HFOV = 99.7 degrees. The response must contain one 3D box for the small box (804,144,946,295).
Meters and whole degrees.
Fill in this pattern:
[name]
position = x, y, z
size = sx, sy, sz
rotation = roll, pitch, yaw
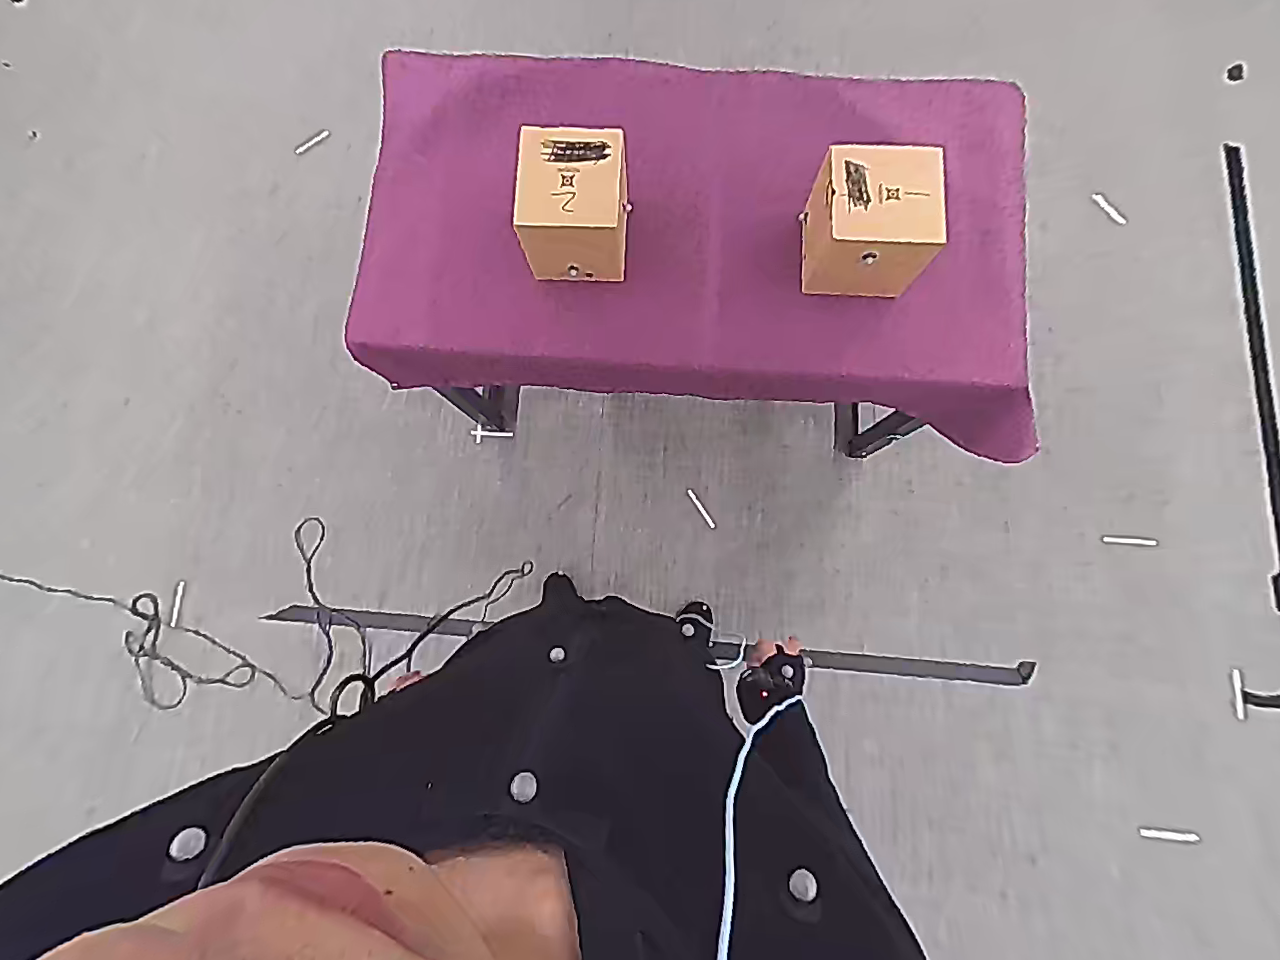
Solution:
[small box]
position = 0.383, -0.428, 0.910
size = 0.179, 0.176, 0.168
rotation = 3, 81, 2
